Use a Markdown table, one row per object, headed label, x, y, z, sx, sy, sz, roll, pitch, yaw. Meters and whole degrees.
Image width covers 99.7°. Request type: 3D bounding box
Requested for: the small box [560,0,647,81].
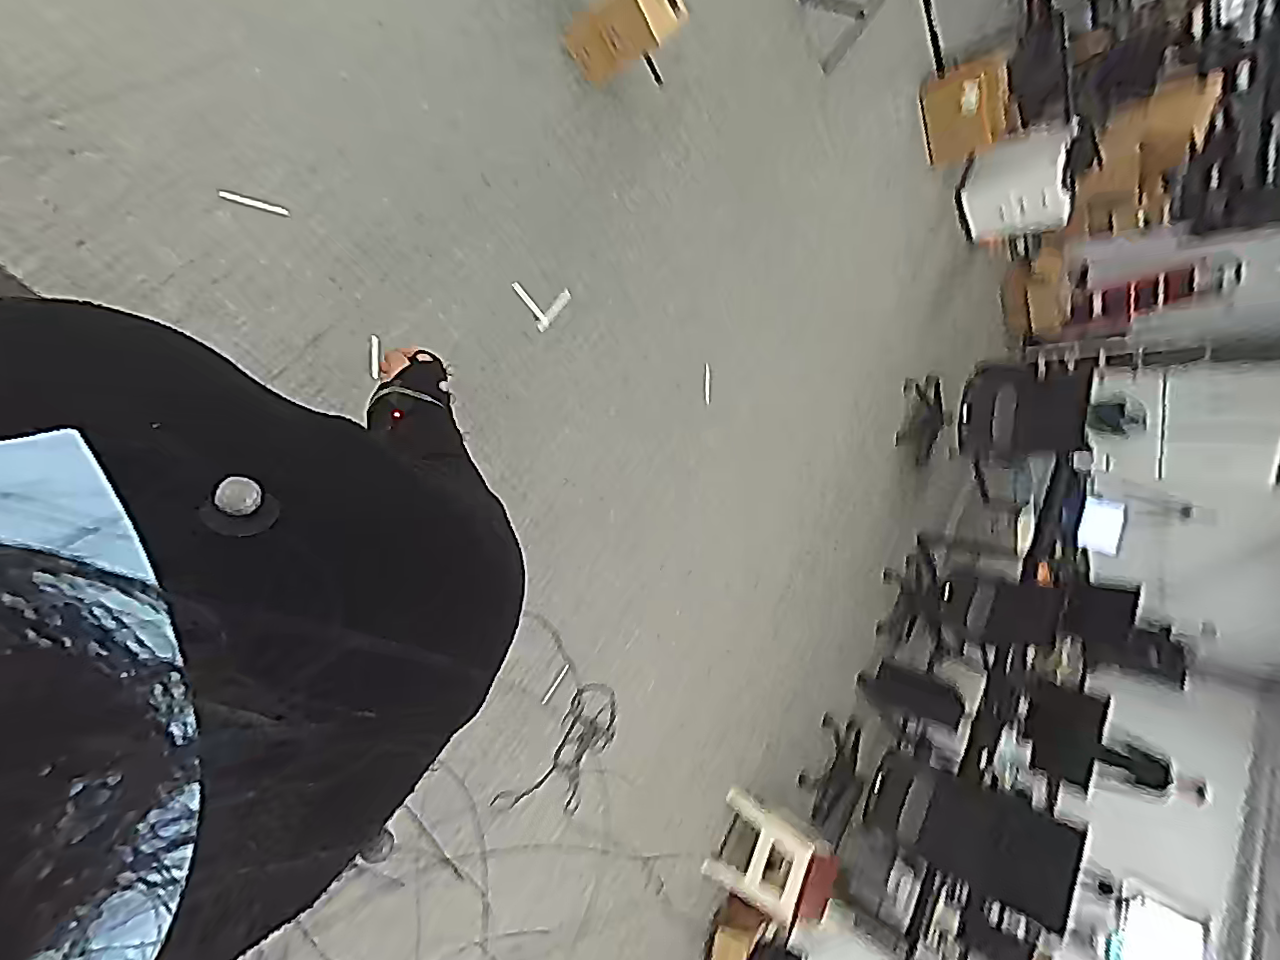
| label | x | y | z | sx | sy | sz | roll | pitch | yaw |
| --- | --- | --- | --- | --- | --- | --- | --- | --- | --- |
| small box | -0.118 | -1.394 | 1.672 | 0.168 | 0.176 | 0.179 | 44 | 67 | -37 |
